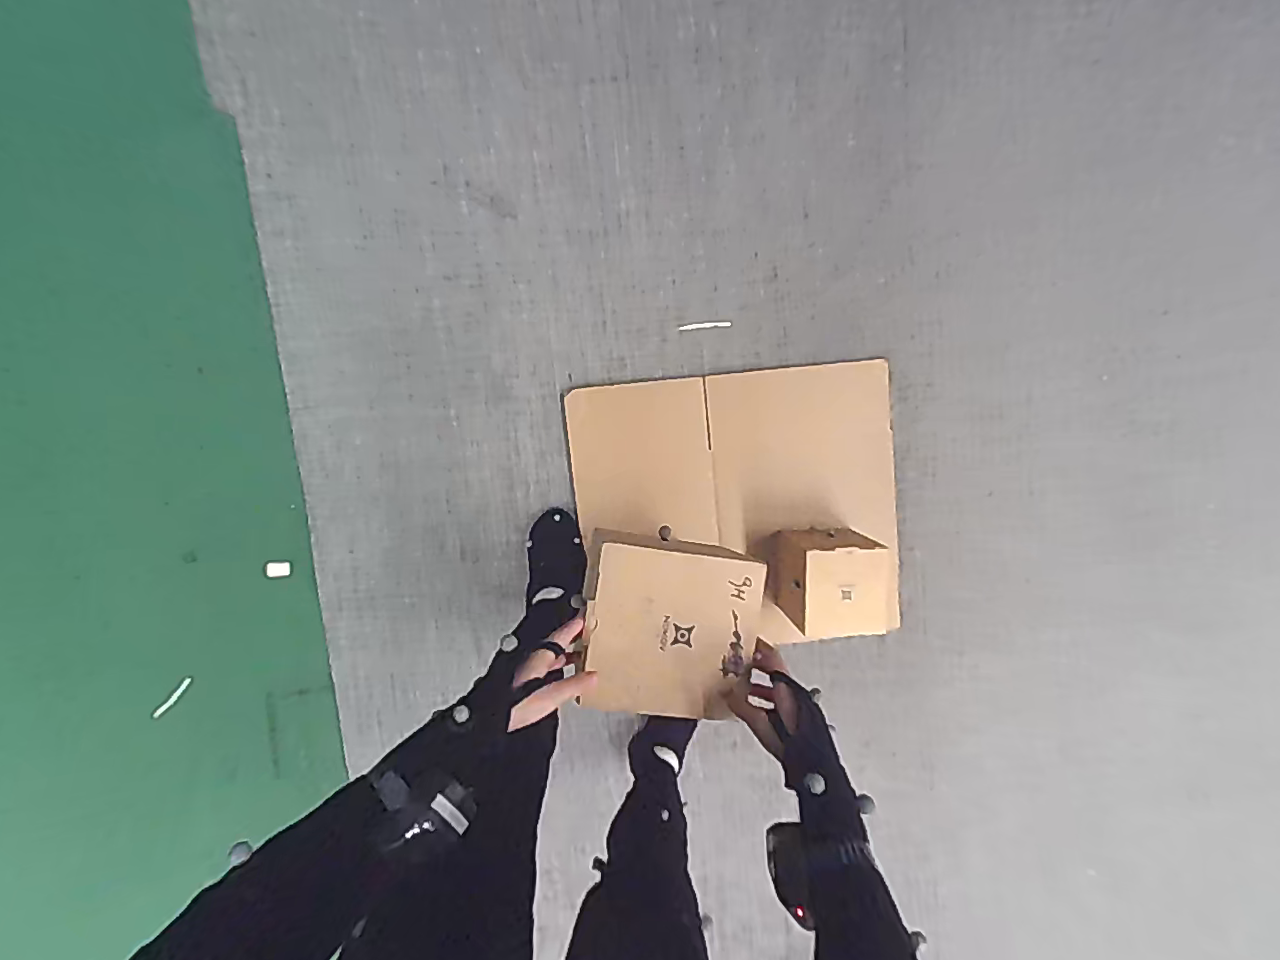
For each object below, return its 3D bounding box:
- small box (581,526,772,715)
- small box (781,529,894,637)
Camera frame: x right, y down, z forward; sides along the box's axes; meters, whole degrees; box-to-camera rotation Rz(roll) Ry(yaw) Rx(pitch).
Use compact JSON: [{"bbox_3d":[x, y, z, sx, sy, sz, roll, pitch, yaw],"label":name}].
[{"bbox_3d":[0.029,0.148,0.625,0.179,0.176,0.168,10,88,-7],"label":"small box"},{"bbox_3d":[0.396,0.204,1.108,0.168,0.176,0.179,-2,96,-4],"label":"small box"}]
